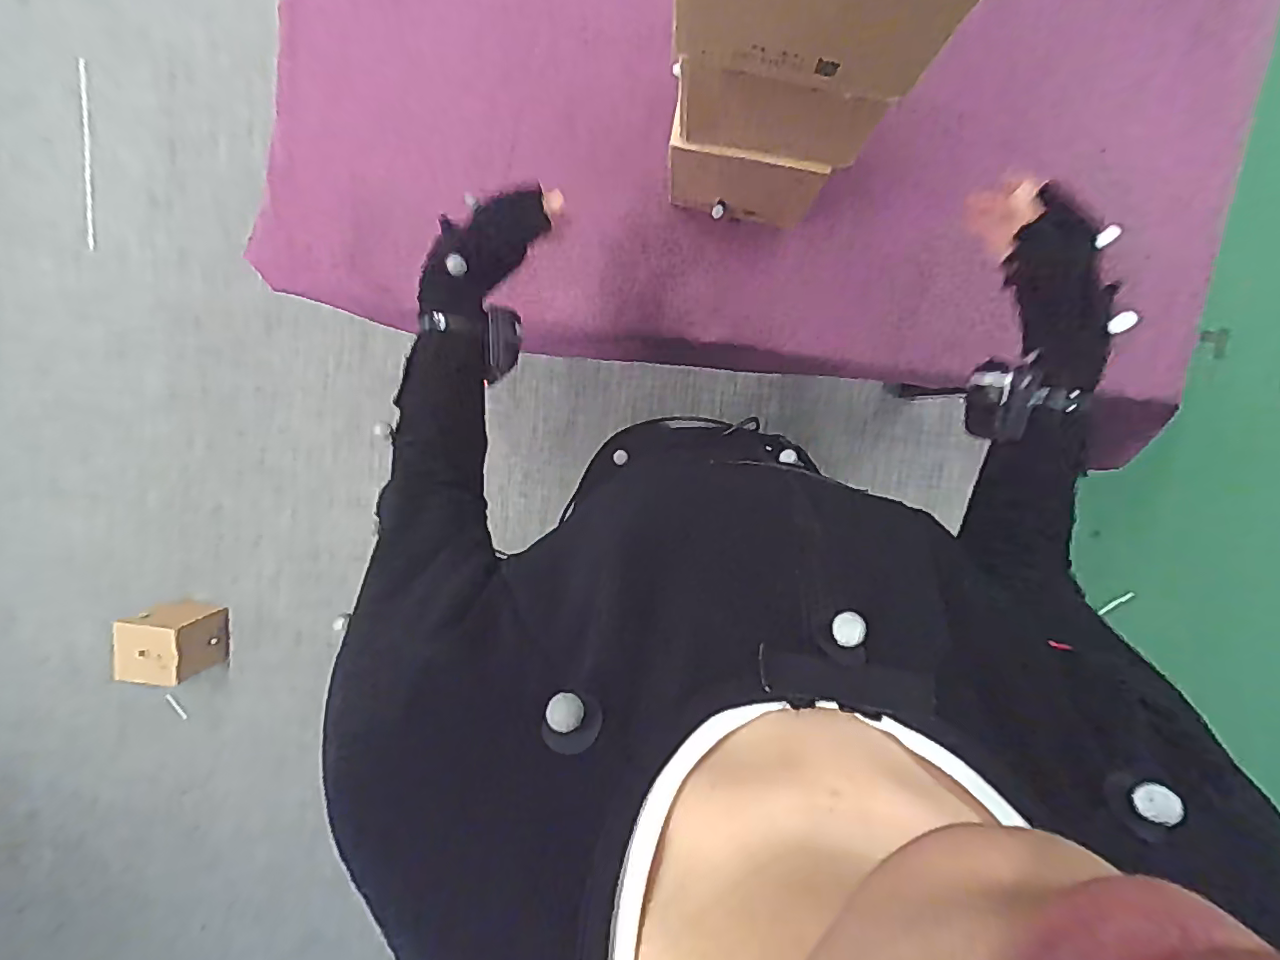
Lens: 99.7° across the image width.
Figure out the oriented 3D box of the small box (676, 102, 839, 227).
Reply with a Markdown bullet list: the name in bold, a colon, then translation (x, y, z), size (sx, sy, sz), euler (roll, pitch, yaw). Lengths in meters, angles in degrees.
- **small box**: translation (0.135, -0.411, 0.602), size (0.168, 0.176, 0.179), euler (12, 98, 2)

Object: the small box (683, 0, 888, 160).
- **small box**: translation (0.133, -0.392, 0.442), size (0.179, 0.176, 0.168), euler (10, 98, 2)

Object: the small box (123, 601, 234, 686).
- **small box**: translation (-1.291, 0.452, 1.519), size (0.179, 0.176, 0.168), euler (6, 98, 2)
